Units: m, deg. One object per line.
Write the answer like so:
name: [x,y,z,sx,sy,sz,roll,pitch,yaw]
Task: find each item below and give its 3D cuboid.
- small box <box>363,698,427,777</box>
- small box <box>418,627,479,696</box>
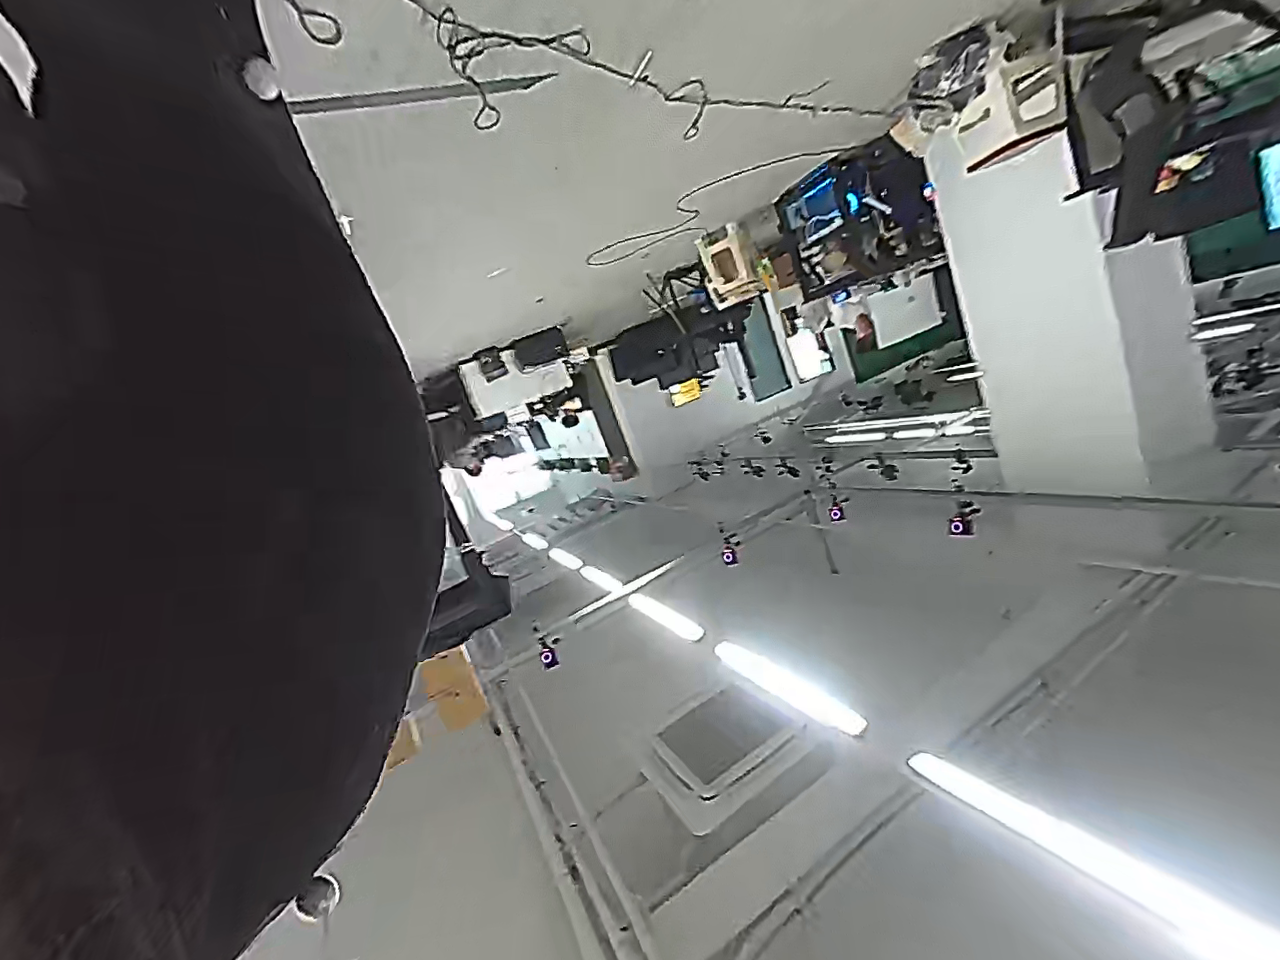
small box: [-0.912,0.947,2.007,0.168,0.176,0.179,-24,-168,-23]
small box: [-0.736,0.686,2.071,0.168,0.176,0.179,-24,-169,-21]
